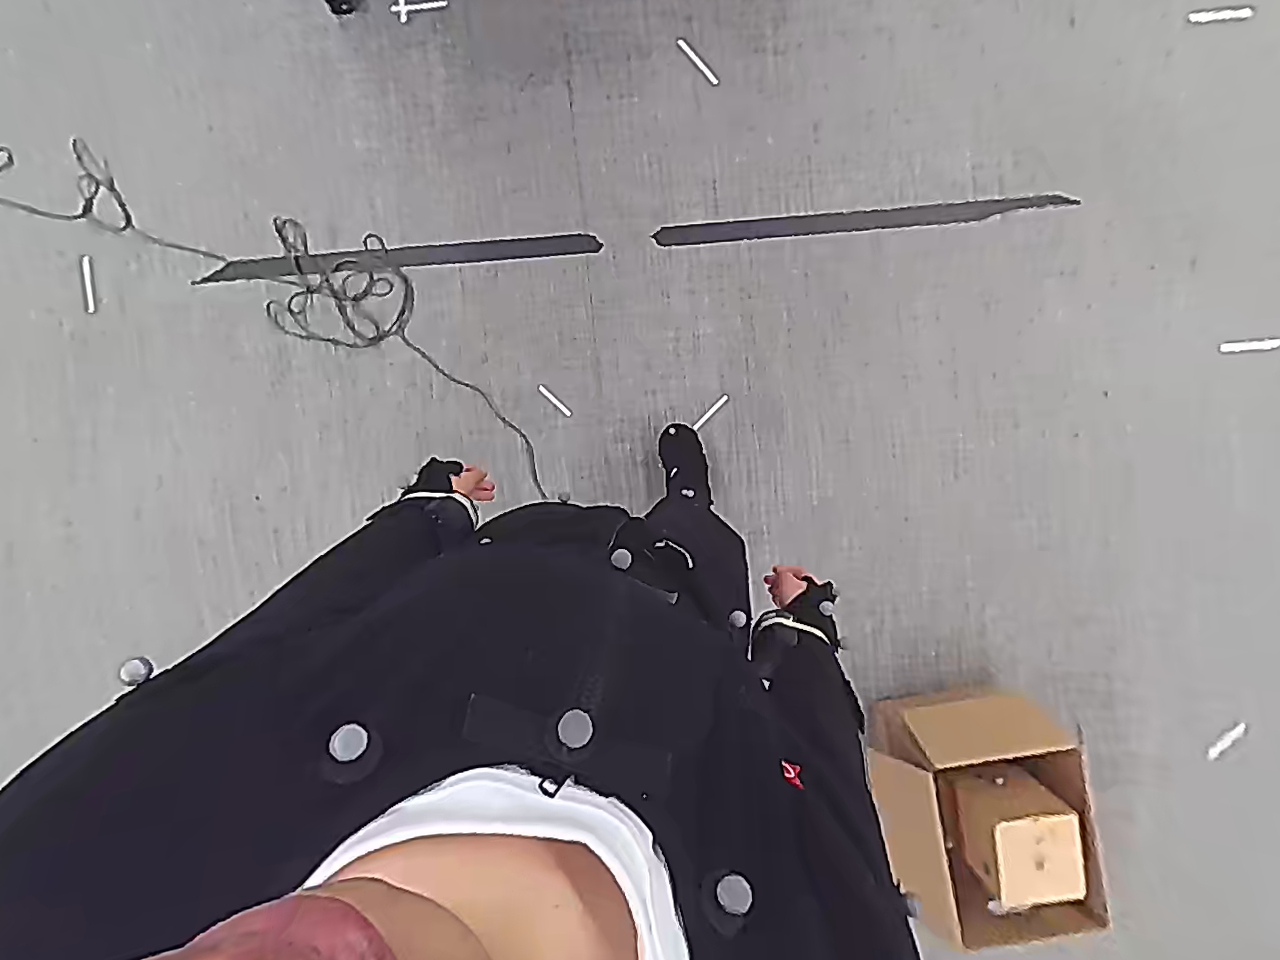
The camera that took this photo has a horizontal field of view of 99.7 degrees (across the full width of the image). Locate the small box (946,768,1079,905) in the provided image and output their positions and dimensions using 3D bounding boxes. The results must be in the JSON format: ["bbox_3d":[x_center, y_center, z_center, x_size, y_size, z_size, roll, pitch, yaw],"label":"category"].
[{"bbox_3d":[0.783,0.749,1.150,0.168,0.176,0.179,-7,92,0],"label":"small box"}]
